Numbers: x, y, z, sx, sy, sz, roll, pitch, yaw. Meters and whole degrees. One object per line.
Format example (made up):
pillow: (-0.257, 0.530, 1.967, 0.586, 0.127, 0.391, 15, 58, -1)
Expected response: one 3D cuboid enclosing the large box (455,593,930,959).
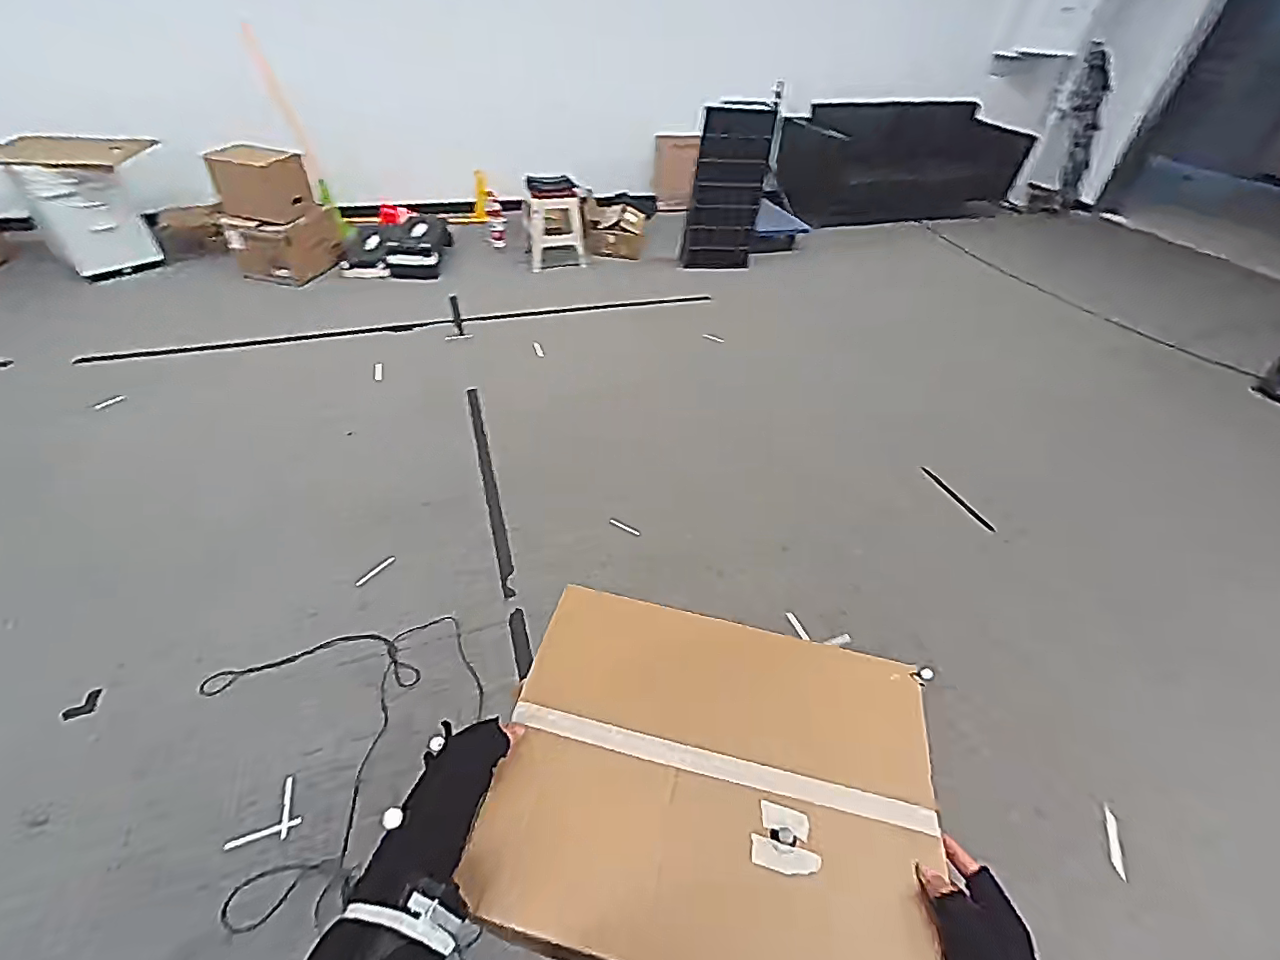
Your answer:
large box: (0.056, 0.381, 0.642, 0.408, 0.320, 0.320, 11, 47, 7)
